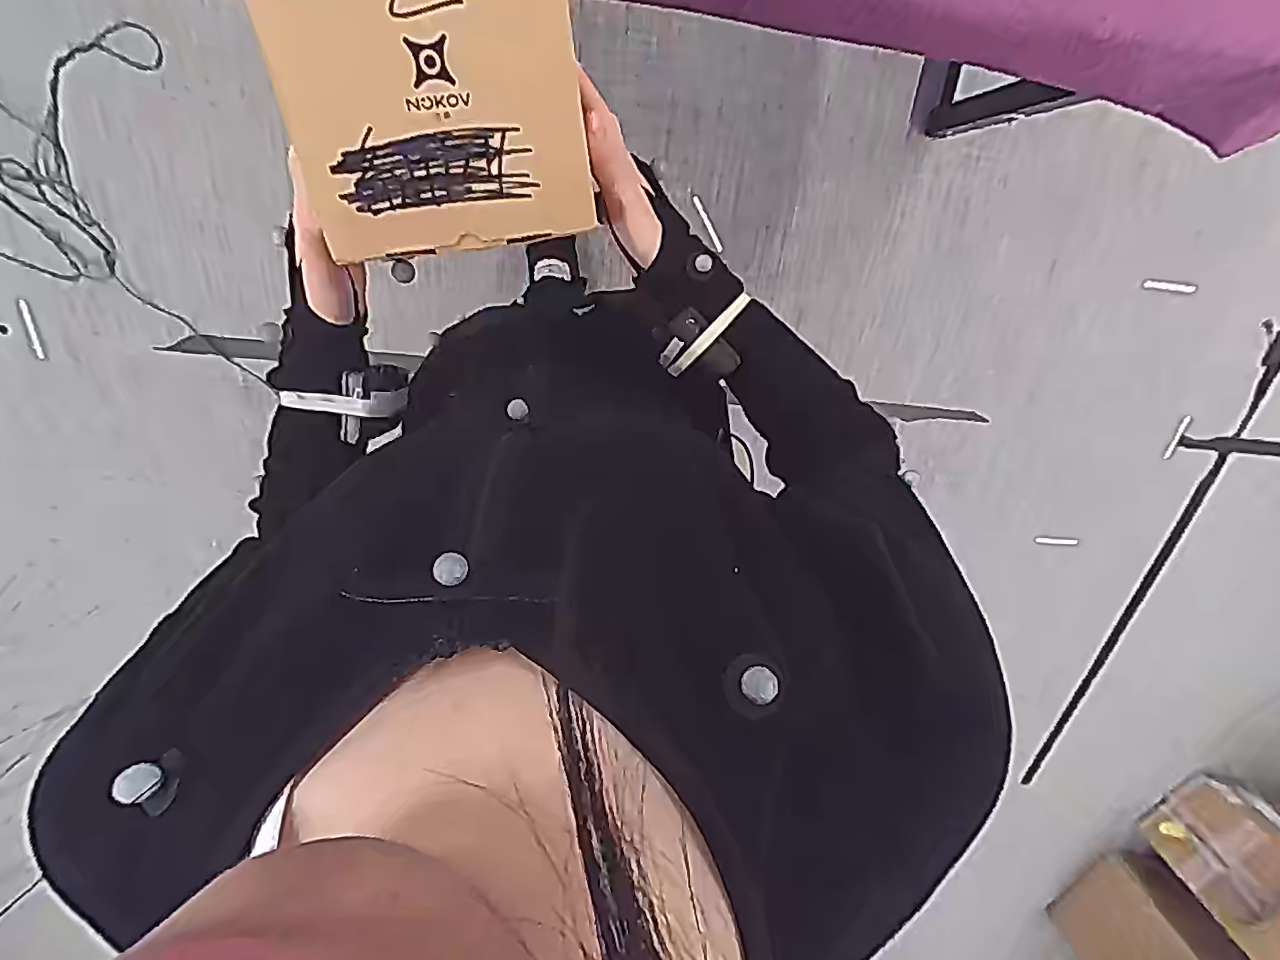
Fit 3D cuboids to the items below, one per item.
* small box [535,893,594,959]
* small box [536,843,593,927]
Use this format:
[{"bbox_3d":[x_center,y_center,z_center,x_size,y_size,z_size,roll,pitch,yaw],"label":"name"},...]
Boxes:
[{"bbox_3d":[-0.225,1.373,1.608,0.168,0.176,0.179,3,113,-7],"label":"small box"},{"bbox_3d":[-0.243,1.313,1.758,0.179,0.176,0.168,3,113,-5],"label":"small box"}]
